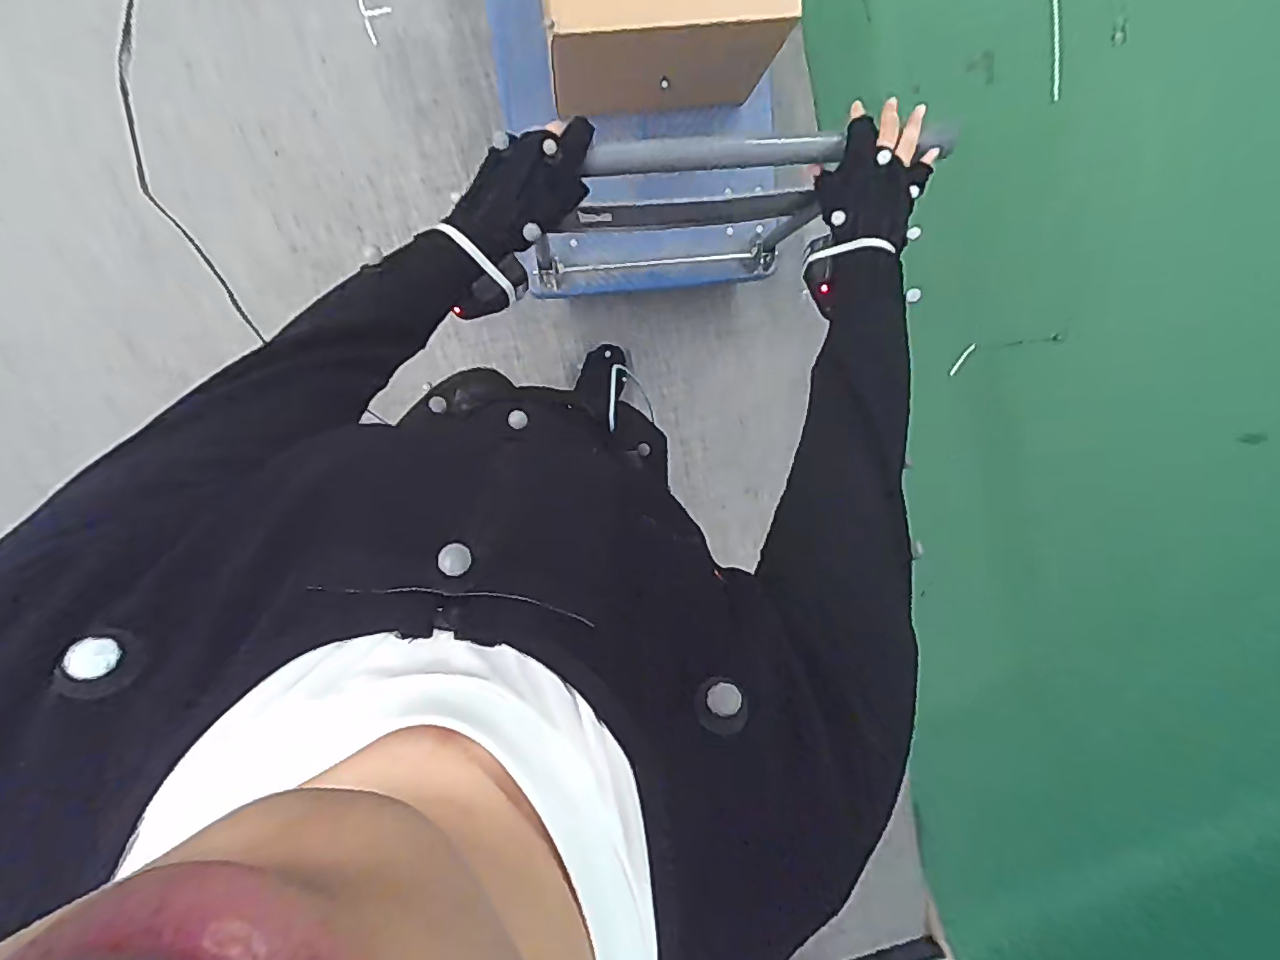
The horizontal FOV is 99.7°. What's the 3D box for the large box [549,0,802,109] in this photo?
[{"bbox_3d":[0.035,-0.909,0.963,0.408,0.320,0.320,-8,104,-4],"label":"large box"}]
